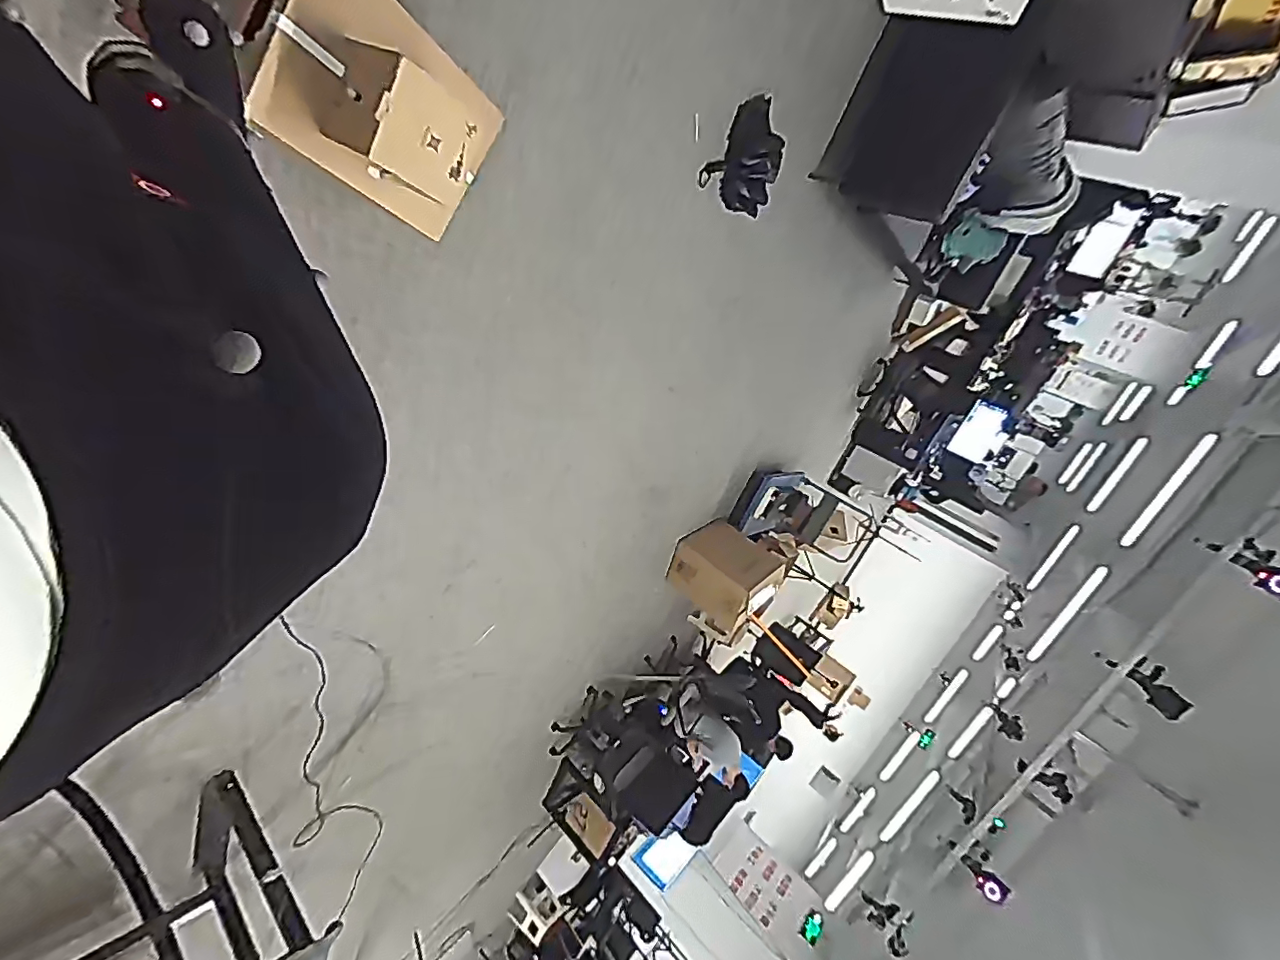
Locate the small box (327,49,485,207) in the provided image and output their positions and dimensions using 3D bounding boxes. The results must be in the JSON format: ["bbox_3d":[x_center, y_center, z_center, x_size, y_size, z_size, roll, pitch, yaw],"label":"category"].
[{"bbox_3d":[-0.419,-0.625,0.962,0.179,0.176,0.168,7,115,-58],"label":"small box"}]
